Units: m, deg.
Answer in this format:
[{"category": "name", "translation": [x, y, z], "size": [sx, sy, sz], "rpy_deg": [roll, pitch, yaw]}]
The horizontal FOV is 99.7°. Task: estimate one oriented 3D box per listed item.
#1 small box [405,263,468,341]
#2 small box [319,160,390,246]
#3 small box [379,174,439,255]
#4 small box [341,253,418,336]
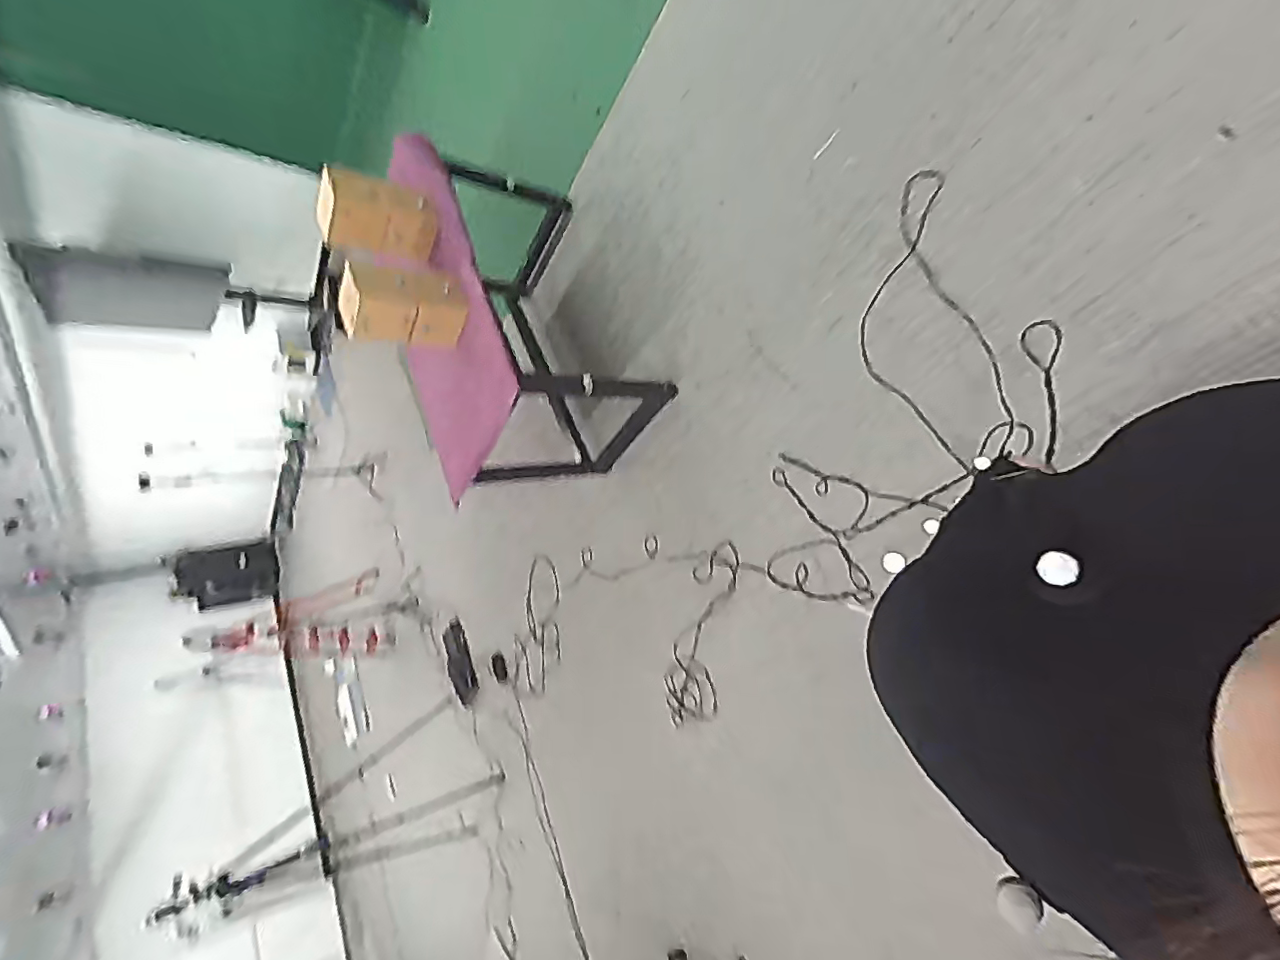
[{"category": "small box", "translation": [-0.686, -0.579, 1.784], "size": [0.179, 0.176, 0.168], "rpy_deg": [-47, 61, 41]}, {"category": "small box", "translation": [-0.951, -0.914, 1.802], "size": [0.179, 0.176, 0.168], "rpy_deg": [-45, 62, 40]}, {"category": "small box", "translation": [-0.828, -0.927, 1.907], "size": [0.179, 0.176, 0.168], "rpy_deg": [-45, 62, 40]}, {"category": "small box", "translation": [-0.807, -0.566, 1.674], "size": [0.168, 0.176, 0.179], "rpy_deg": [-48, 59, 41]}]
